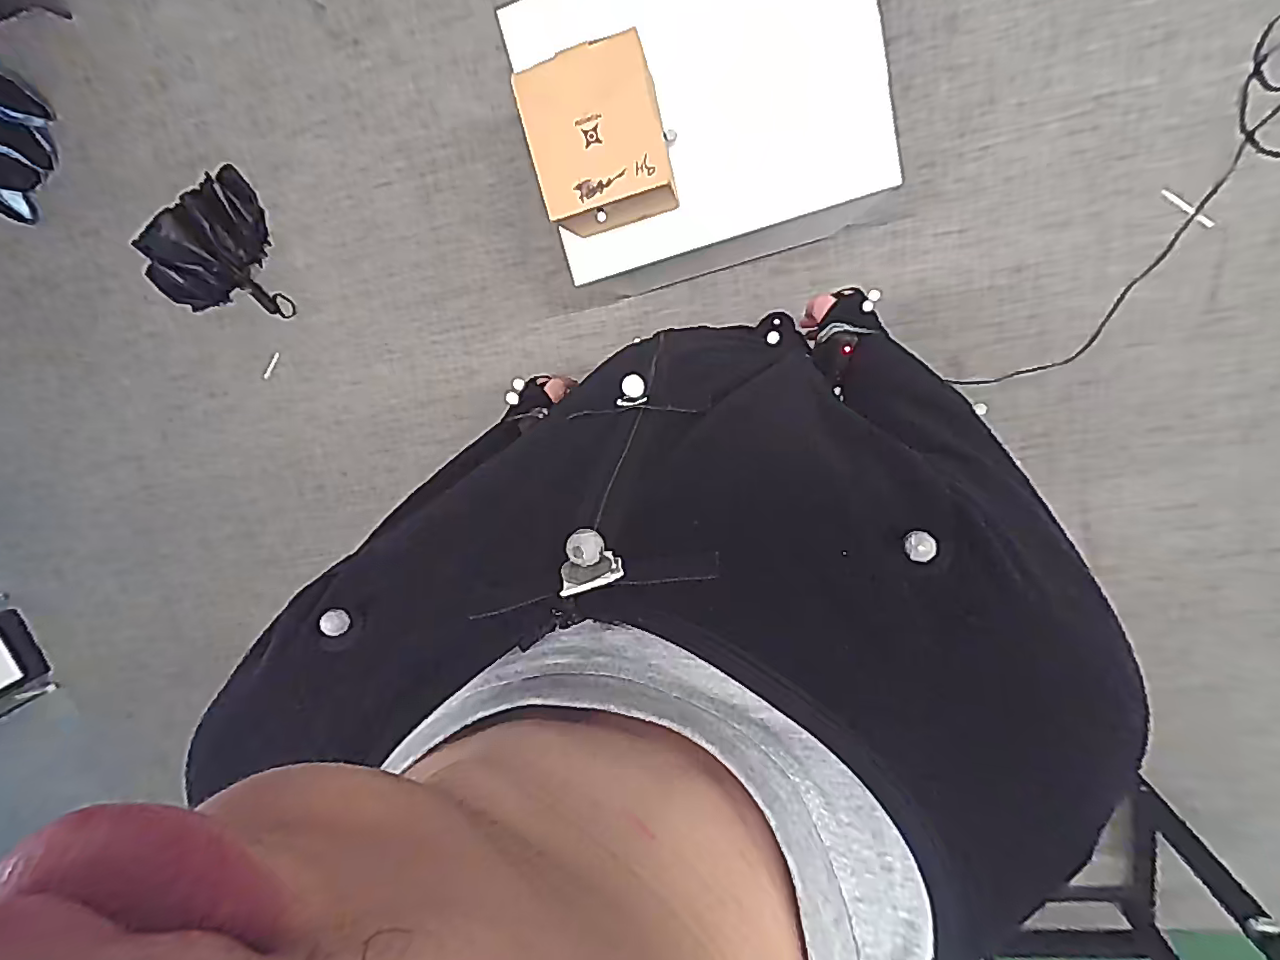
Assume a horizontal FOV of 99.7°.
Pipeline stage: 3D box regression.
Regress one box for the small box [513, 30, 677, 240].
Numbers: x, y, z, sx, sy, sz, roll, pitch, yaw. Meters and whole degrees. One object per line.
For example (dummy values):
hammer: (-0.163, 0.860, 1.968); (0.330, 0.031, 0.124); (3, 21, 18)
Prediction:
small box: (-0.050, -0.456, 0.748); (0.168, 0.176, 0.179); (-13, 103, 12)
